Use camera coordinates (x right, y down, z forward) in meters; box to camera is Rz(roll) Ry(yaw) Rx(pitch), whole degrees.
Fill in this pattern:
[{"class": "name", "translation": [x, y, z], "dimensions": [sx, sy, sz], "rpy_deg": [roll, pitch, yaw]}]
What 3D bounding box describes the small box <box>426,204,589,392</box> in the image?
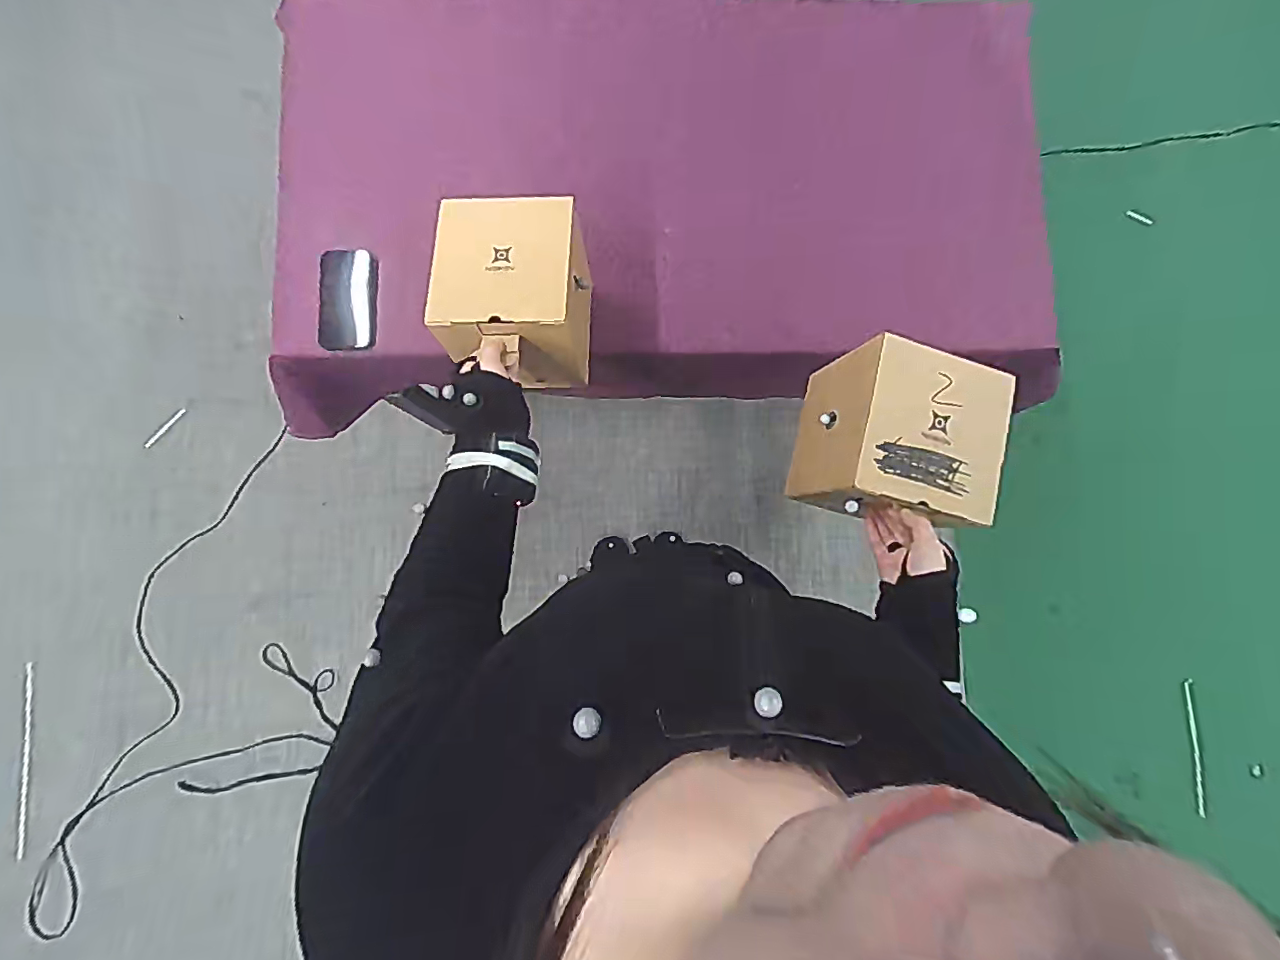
[{"class": "small box", "translation": [-0.160, -0.233, 0.716], "dimensions": [0.168, 0.176, 0.179], "rpy_deg": [0, 74, 2]}]
